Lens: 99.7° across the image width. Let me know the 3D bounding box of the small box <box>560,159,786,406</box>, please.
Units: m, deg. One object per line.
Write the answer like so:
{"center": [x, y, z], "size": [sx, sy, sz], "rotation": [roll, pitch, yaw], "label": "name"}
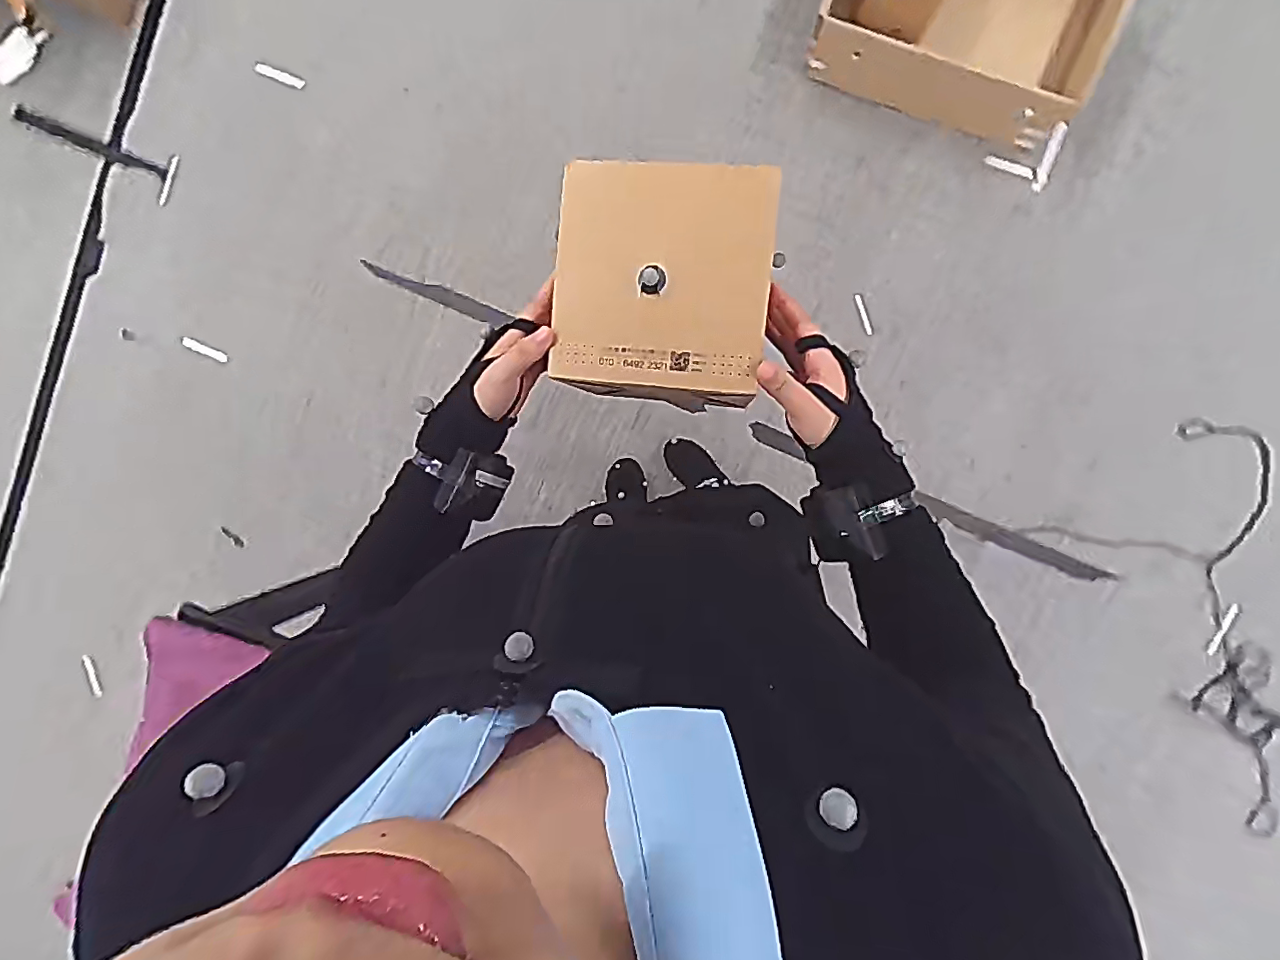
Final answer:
{"center": [0.031, -0.159, 0.488], "size": [0.168, 0.179, 0.176], "rotation": [8, 96, 8], "label": "small box"}
